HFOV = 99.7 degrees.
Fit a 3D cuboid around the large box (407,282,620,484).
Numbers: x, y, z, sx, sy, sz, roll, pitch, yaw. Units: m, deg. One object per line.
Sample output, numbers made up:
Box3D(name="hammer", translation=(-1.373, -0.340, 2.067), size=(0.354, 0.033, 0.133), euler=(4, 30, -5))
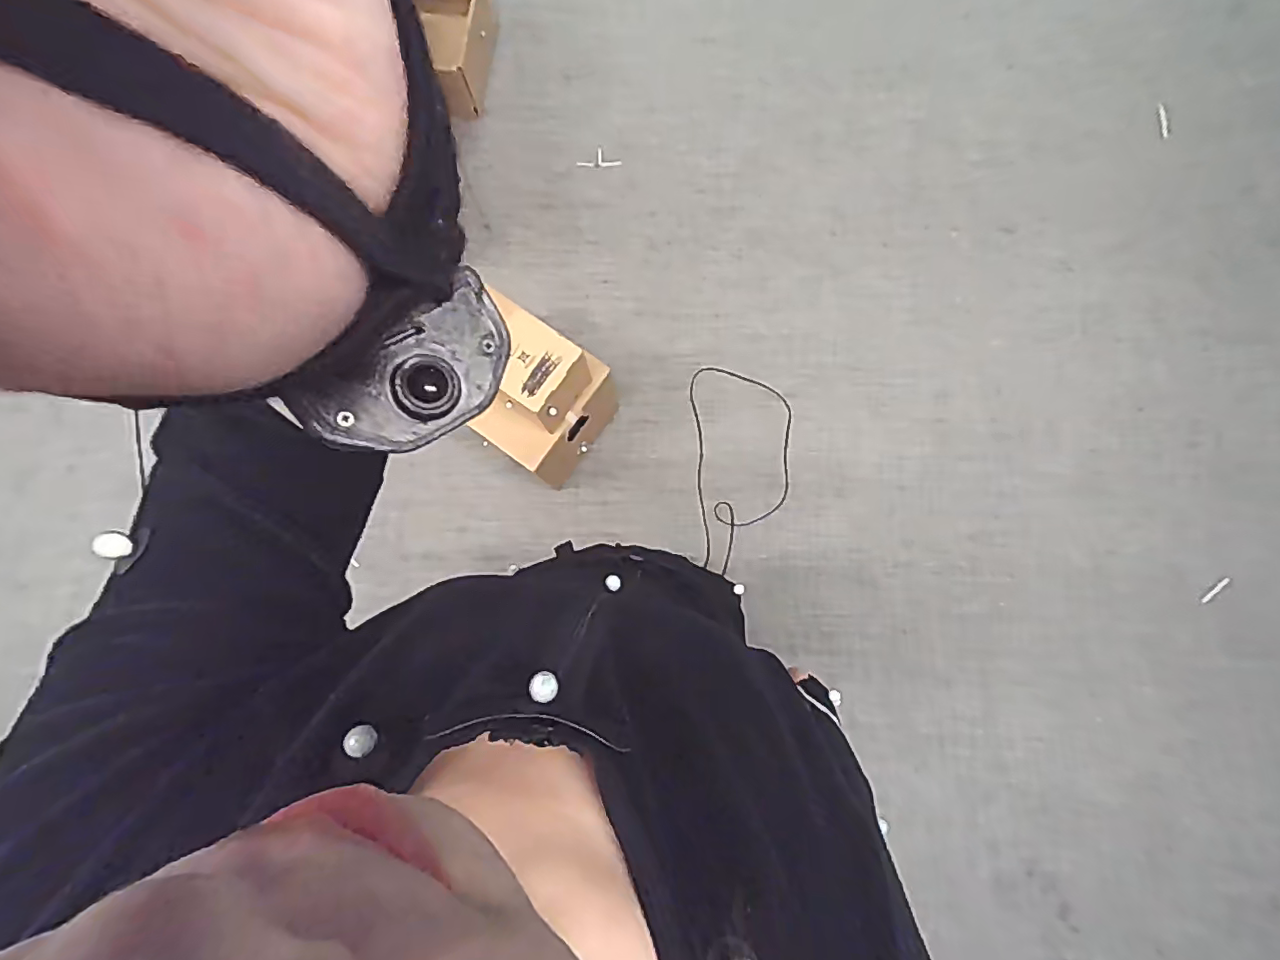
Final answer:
Box3D(name="large box", translation=(-0.308, -0.236, 1.442), size=(0.408, 0.320, 0.320), euler=(35, 84, 7))
